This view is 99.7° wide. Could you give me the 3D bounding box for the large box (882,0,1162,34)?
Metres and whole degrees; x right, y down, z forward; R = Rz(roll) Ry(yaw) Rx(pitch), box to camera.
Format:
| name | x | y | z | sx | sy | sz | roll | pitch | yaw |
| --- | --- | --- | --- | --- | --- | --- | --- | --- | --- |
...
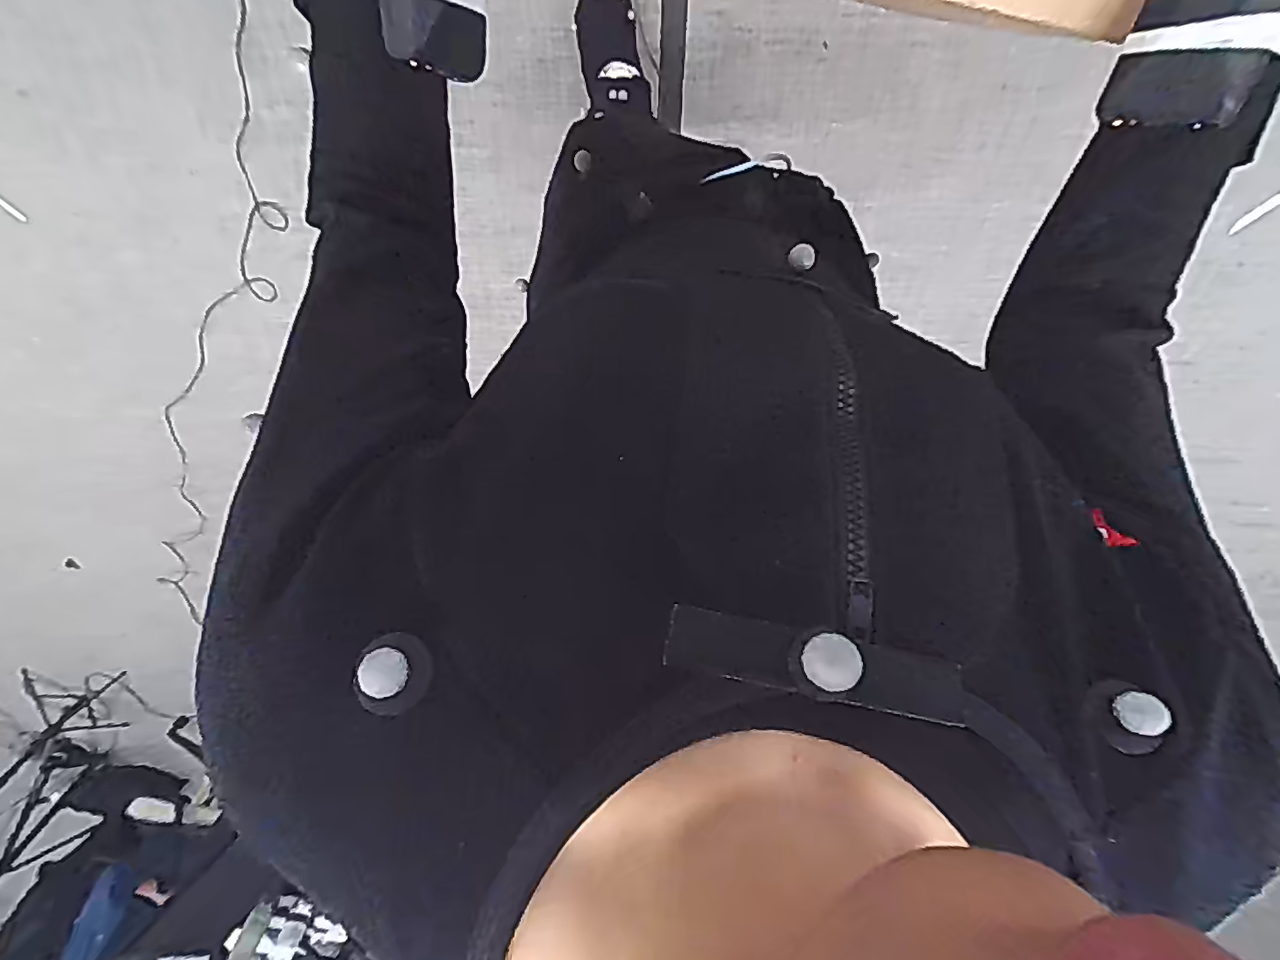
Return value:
| name | x | y | z | sx | sy | sz | roll | pitch | yaw |
| --- | --- | --- | --- | --- | --- | --- | --- | --- | --- |
| large box | 0.124 | -0.495 | 0.304 | 0.408 | 0.320 | 0.320 | 8 | 134 | -5 |
